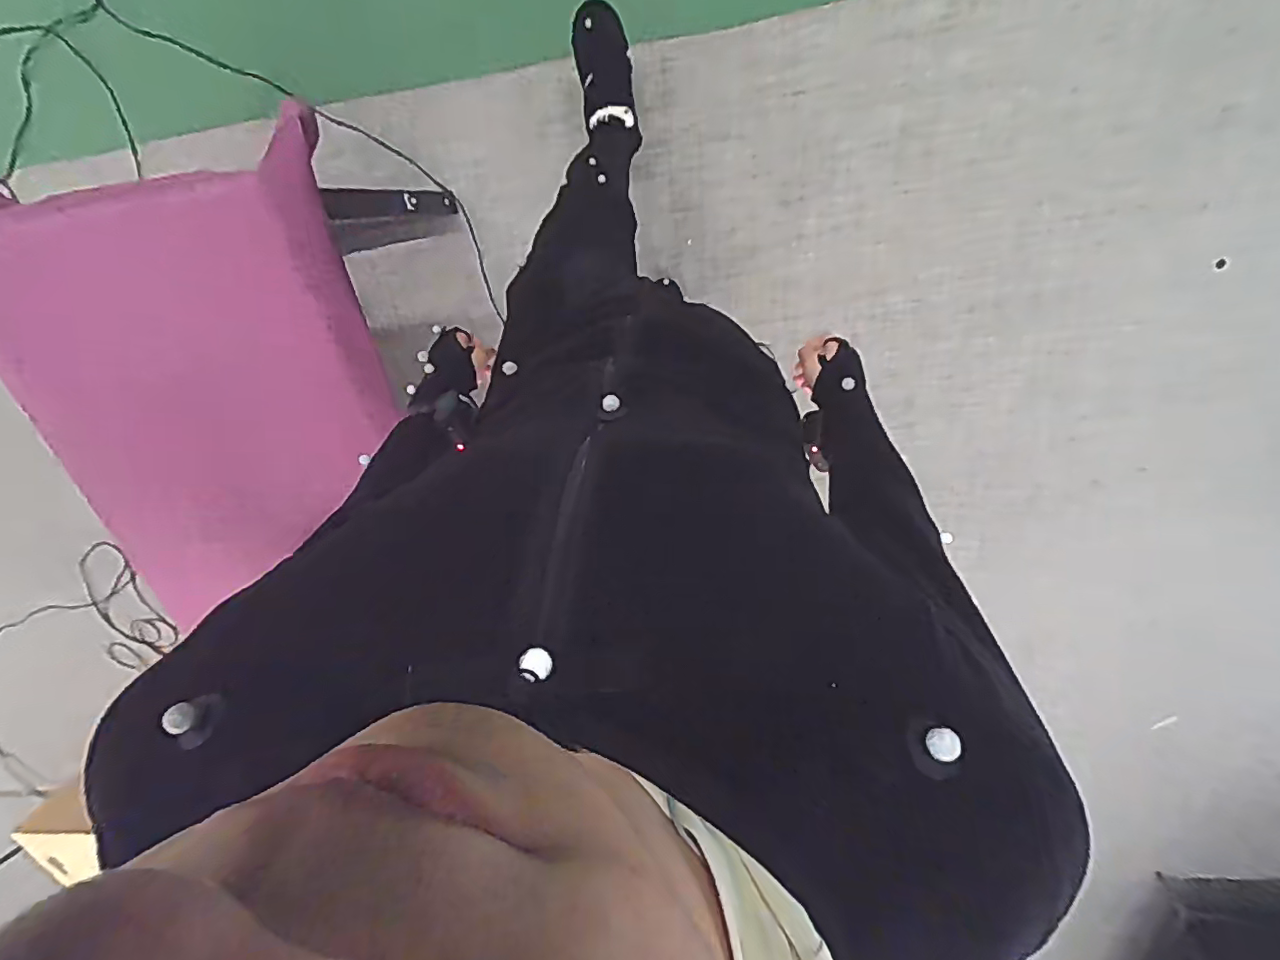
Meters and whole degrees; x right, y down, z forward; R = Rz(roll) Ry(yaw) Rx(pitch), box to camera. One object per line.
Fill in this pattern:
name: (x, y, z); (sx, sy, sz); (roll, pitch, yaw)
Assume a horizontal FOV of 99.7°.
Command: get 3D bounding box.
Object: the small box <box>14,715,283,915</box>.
small box: (-0.619, 0.435, 0.716); (0.179, 0.176, 0.168); (-7, 114, 9)
